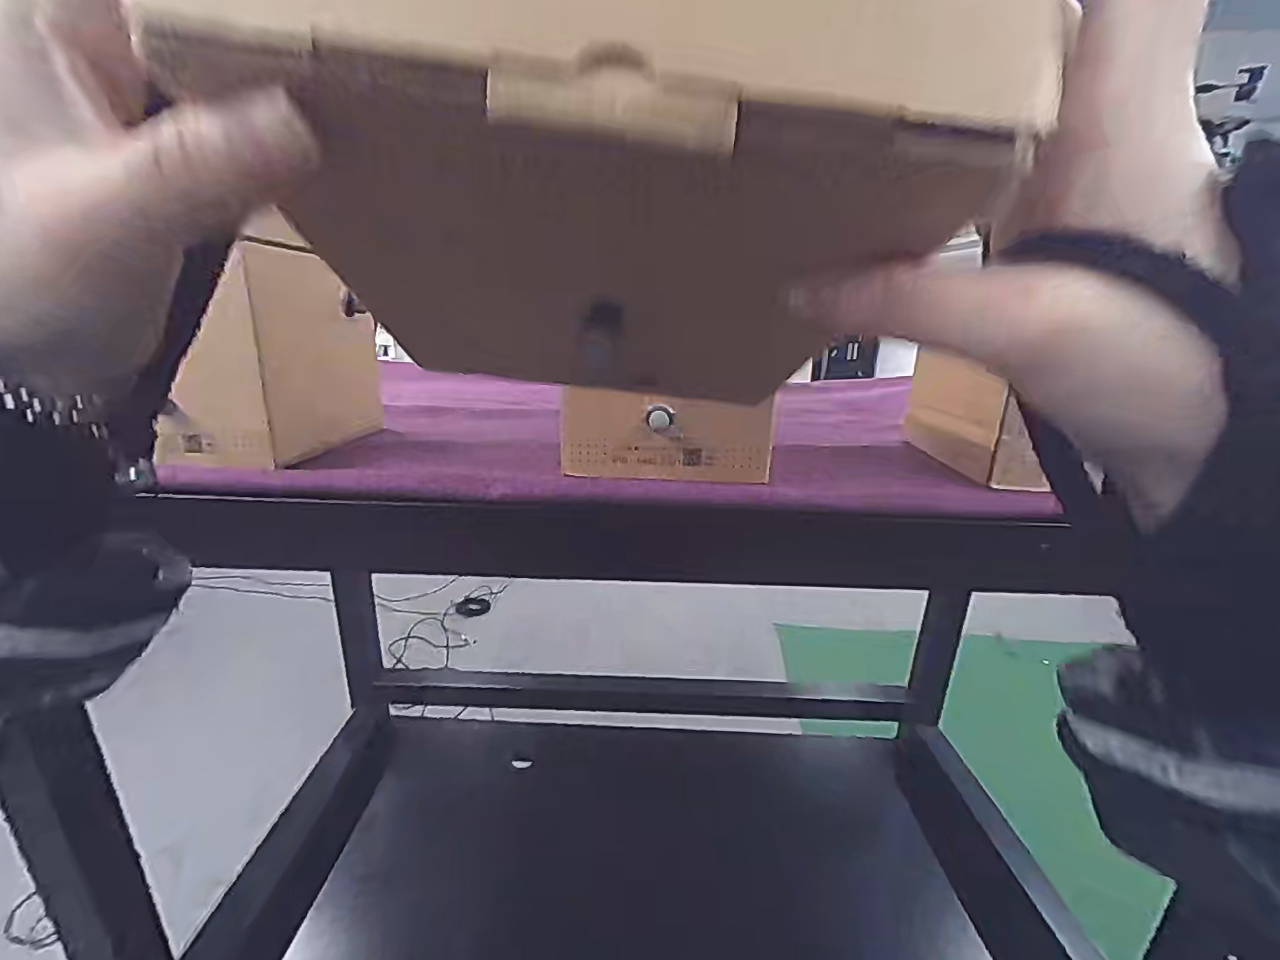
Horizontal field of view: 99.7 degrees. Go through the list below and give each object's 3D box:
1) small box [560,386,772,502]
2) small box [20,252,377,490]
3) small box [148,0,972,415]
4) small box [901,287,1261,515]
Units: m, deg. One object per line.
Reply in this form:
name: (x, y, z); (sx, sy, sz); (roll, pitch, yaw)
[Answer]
small box: (0.021, -0.090, 0.489); (0.168, 0.176, 0.179); (2, 19, 1)
small box: (-0.353, -0.098, 0.475); (0.168, 0.176, 0.179); (2, 17, 1)
small box: (-0.012, -0.130, 0.198); (0.168, 0.179, 0.176); (5, -9, -5)
small box: (0.360, -0.080, 0.489); (0.168, 0.176, 0.179); (2, 19, 3)
